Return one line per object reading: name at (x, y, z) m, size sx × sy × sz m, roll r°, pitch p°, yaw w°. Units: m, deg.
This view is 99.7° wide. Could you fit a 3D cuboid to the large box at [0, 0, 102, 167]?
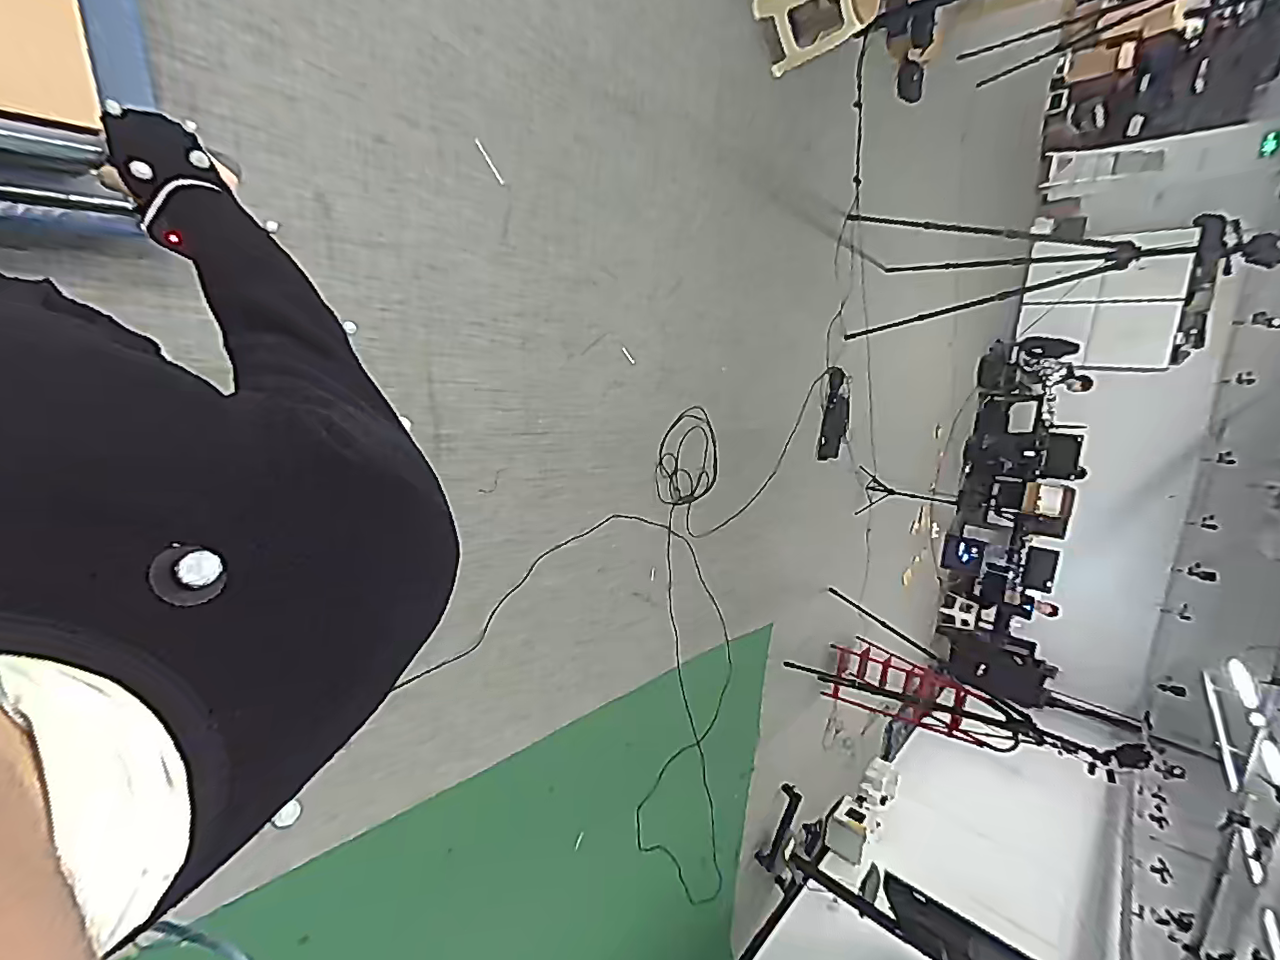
large box at (-1.009, -0.705, 0.739) m, size 0.320 × 0.320 × 0.408 m, roll -16°, pitch 111°, yaw -45°
